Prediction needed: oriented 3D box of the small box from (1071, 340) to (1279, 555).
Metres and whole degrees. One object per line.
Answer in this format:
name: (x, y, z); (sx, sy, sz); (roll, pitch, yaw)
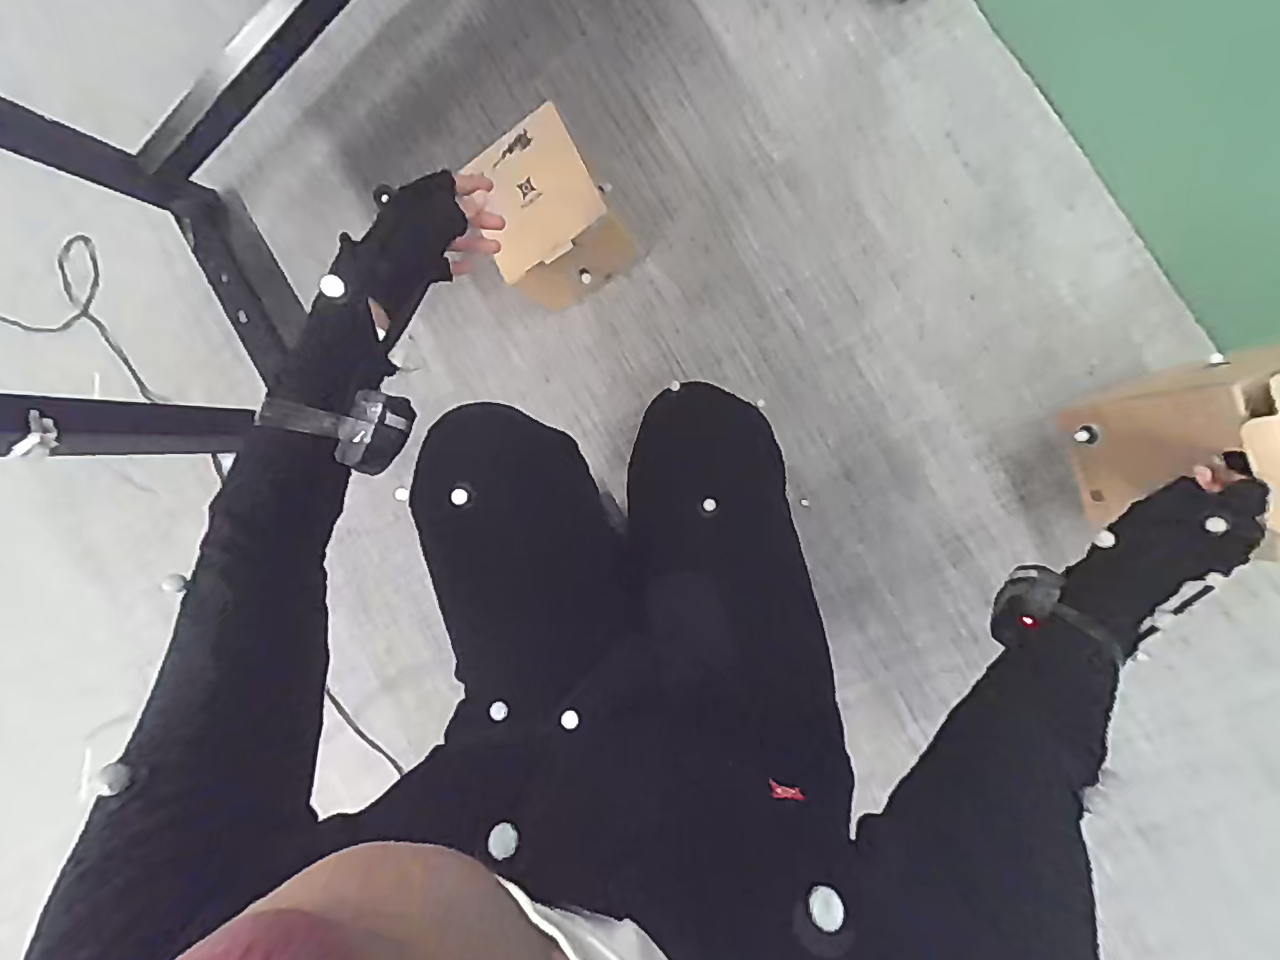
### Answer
small box: (0.584, -0.037, 0.546); (0.179, 0.176, 0.168); (-19, 94, -10)
